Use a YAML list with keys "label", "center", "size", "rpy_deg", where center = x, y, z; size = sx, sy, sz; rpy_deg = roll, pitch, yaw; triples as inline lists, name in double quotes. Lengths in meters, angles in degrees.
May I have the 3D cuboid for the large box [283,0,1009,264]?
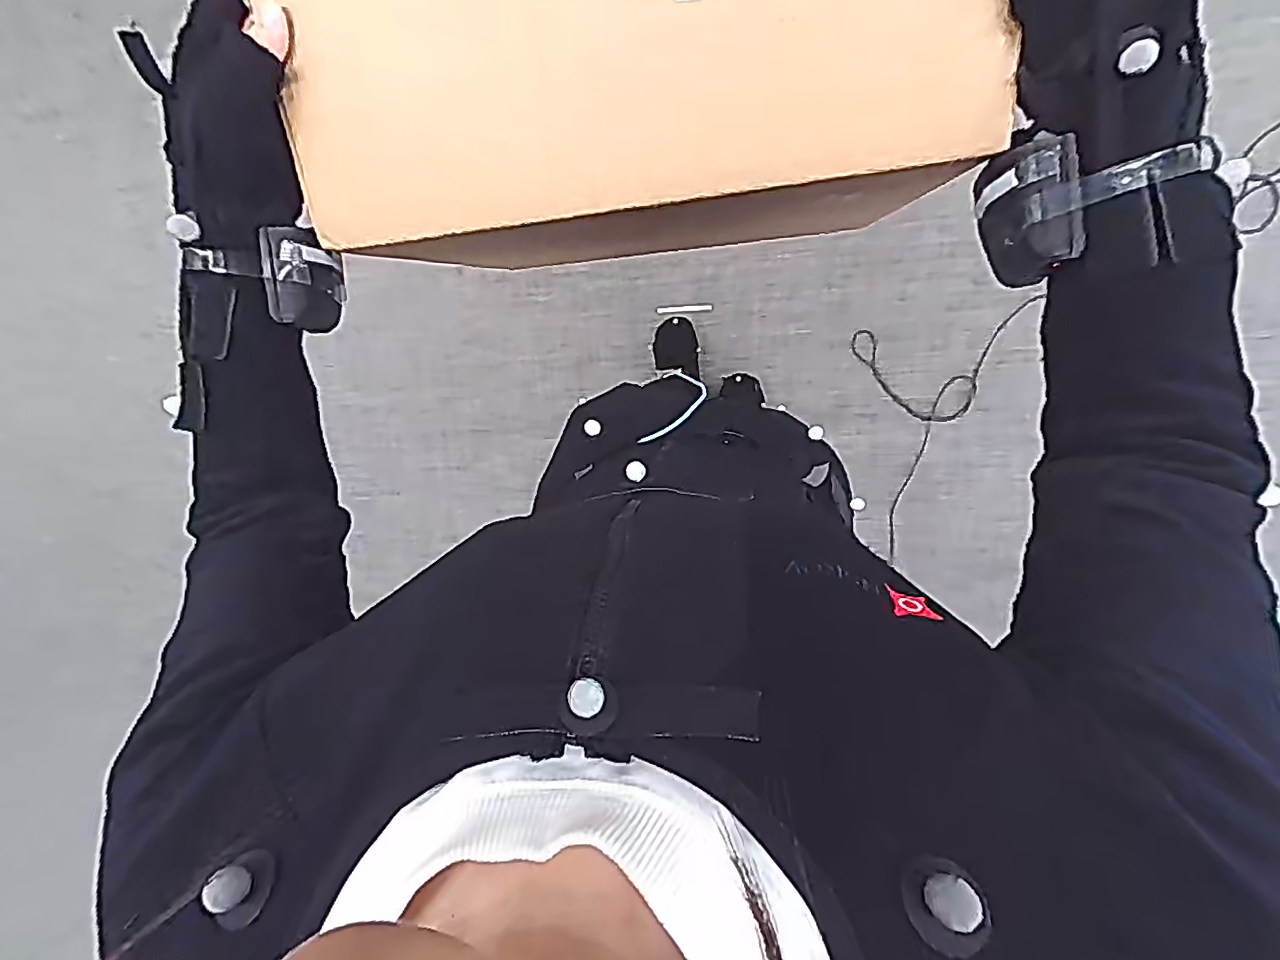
- label: "large box"
  center: [0.002, -0.365, 0.419]
  size: [0.408, 0.320, 0.320]
  rpy_deg: [-3, 109, 10]
